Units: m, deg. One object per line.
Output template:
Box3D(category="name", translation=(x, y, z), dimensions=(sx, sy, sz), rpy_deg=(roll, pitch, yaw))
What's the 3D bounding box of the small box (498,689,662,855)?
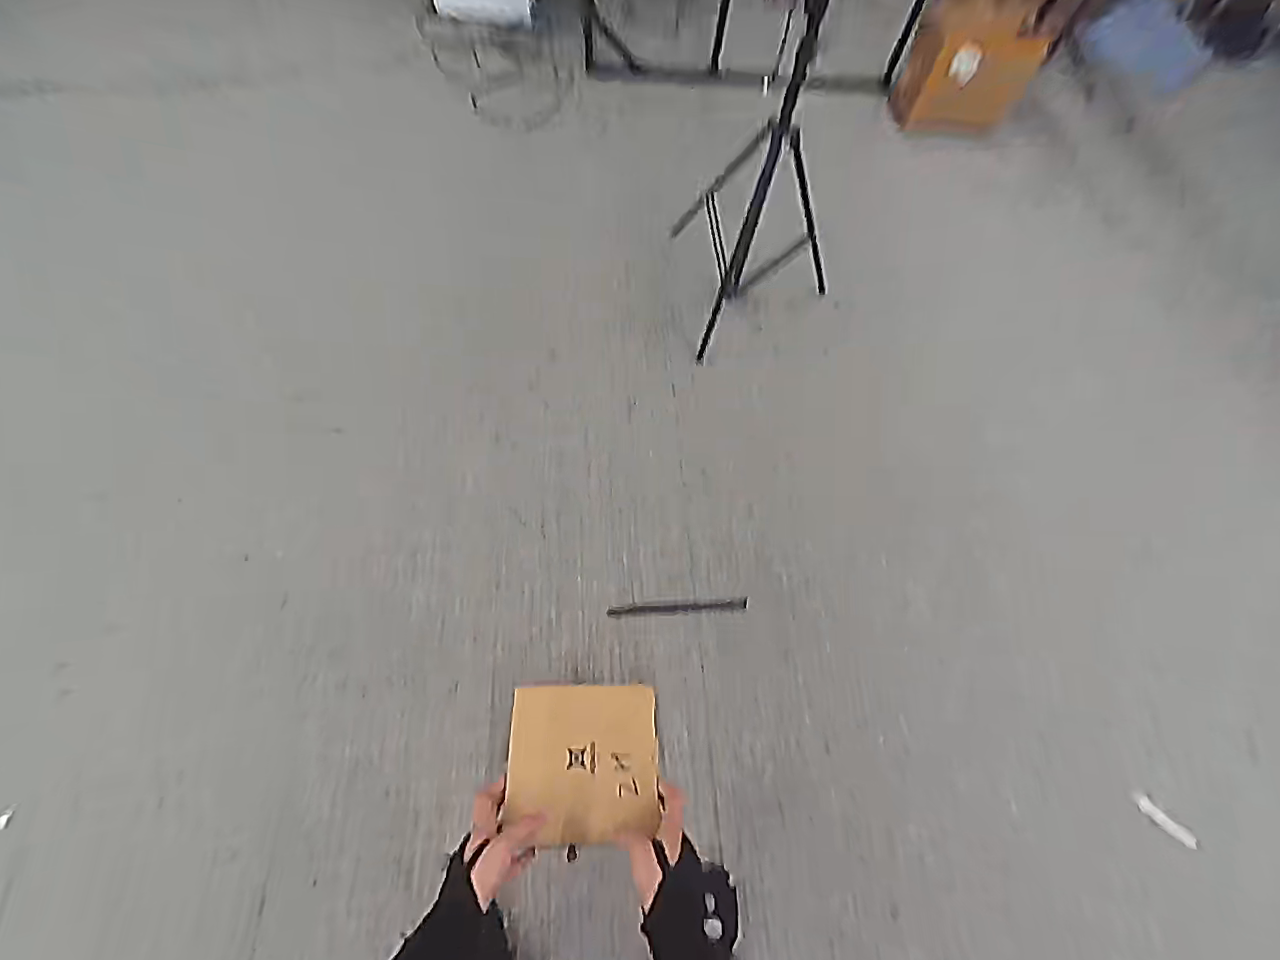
Box3D(category="small box", translation=(-0.069, 0.369, 0.679), dimensions=(0.179, 0.176, 0.168), rpy_deg=(2, 55, -5))
